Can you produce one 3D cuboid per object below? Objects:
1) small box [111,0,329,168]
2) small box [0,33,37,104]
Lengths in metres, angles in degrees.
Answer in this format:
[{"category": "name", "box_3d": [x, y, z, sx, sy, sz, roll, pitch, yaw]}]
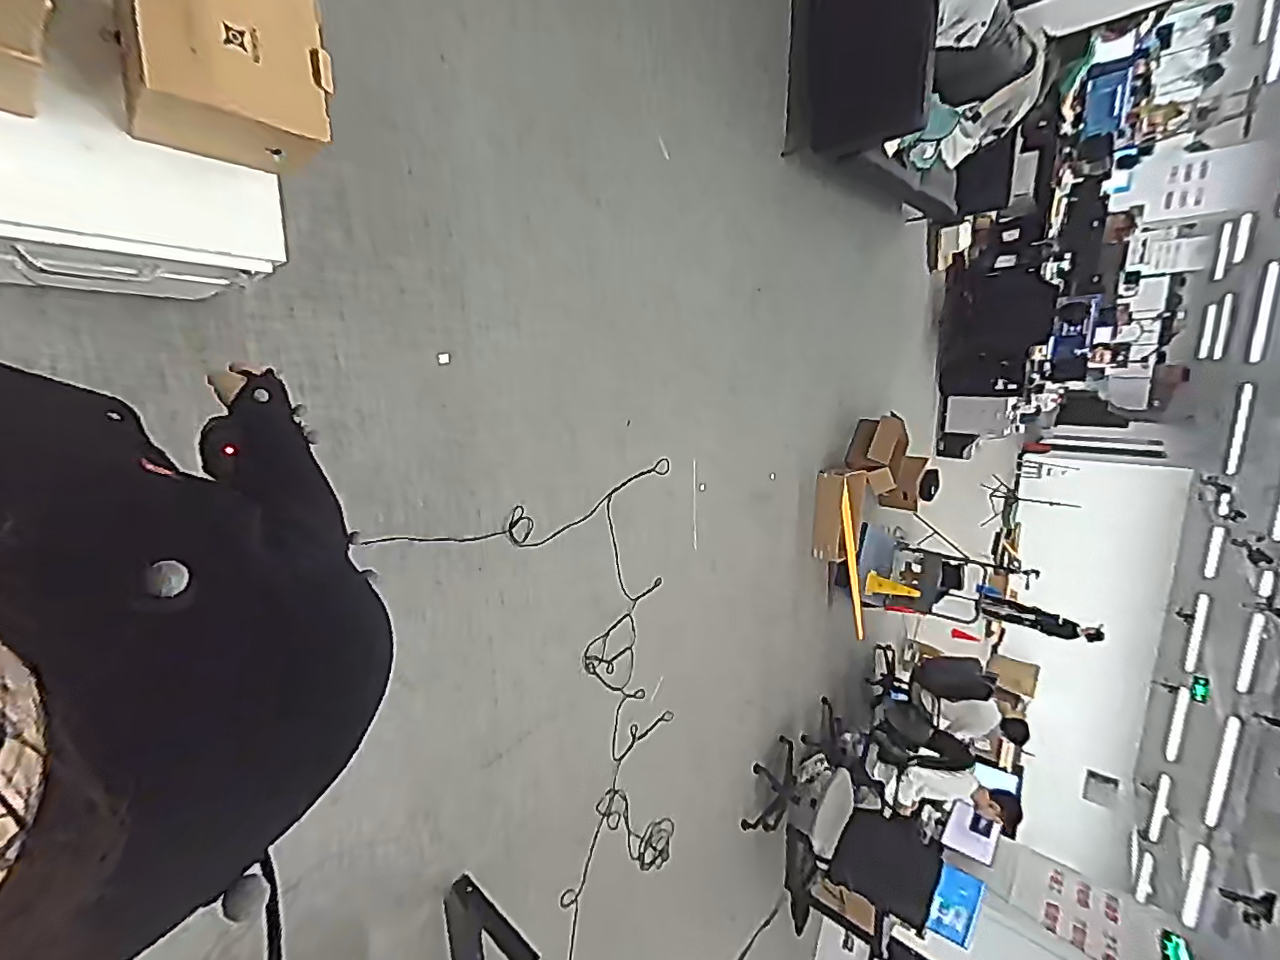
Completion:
[{"category": "small box", "box_3d": [-0.502, -0.500, 0.649, 0.179, 0.176, 0.168, -9, 104, -46]}, {"category": "small box", "box_3d": [-0.663, -0.464, 0.467, 0.179, 0.176, 0.168, -10, 106, -48]}]
